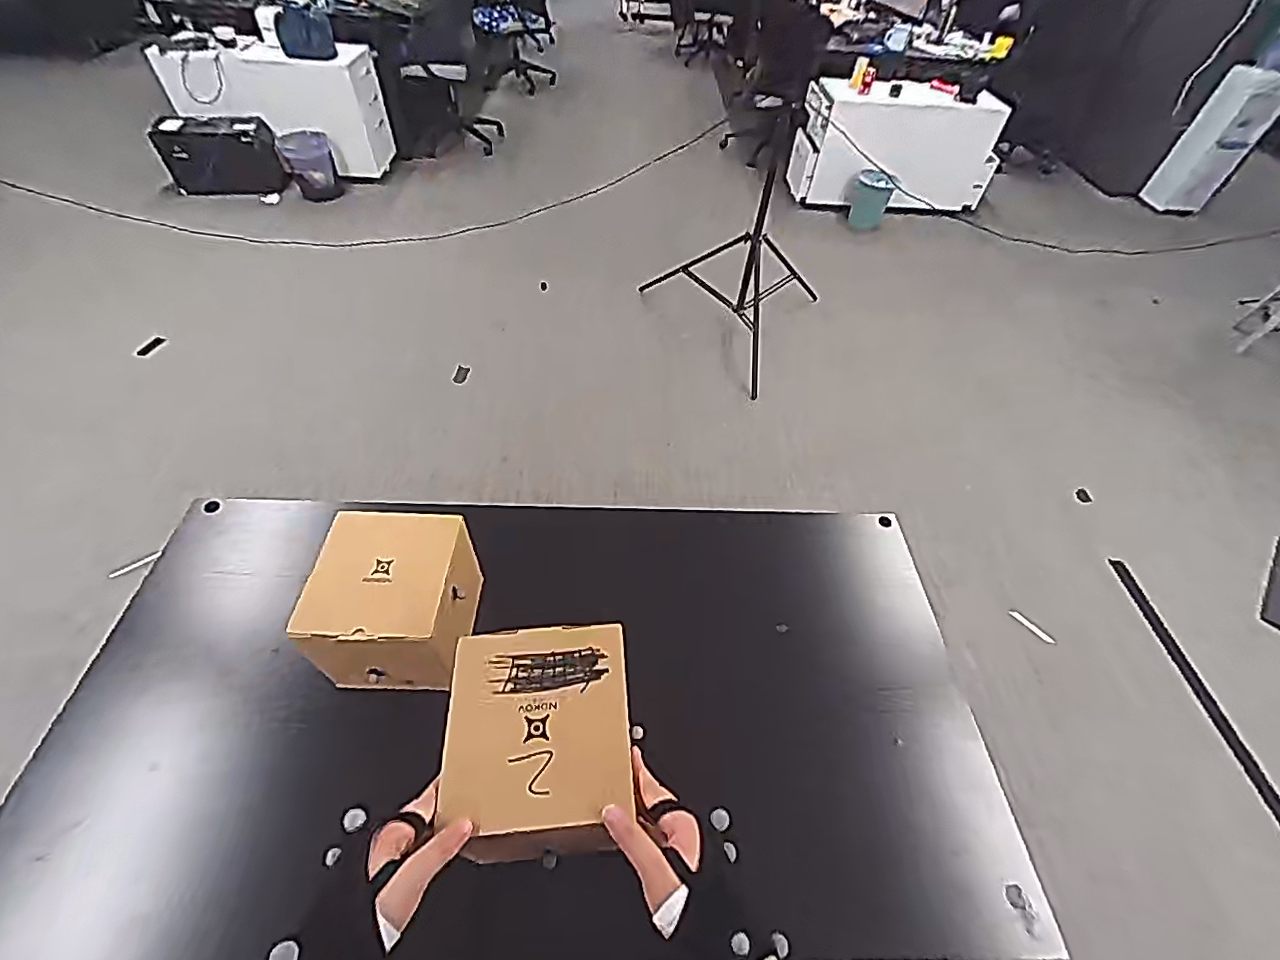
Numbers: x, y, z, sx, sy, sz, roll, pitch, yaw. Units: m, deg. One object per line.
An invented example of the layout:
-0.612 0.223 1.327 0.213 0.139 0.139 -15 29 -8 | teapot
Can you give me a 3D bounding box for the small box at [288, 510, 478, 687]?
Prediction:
-0.325 0.161 0.731 0.168 0.176 0.179 2 51 -3 | small box
